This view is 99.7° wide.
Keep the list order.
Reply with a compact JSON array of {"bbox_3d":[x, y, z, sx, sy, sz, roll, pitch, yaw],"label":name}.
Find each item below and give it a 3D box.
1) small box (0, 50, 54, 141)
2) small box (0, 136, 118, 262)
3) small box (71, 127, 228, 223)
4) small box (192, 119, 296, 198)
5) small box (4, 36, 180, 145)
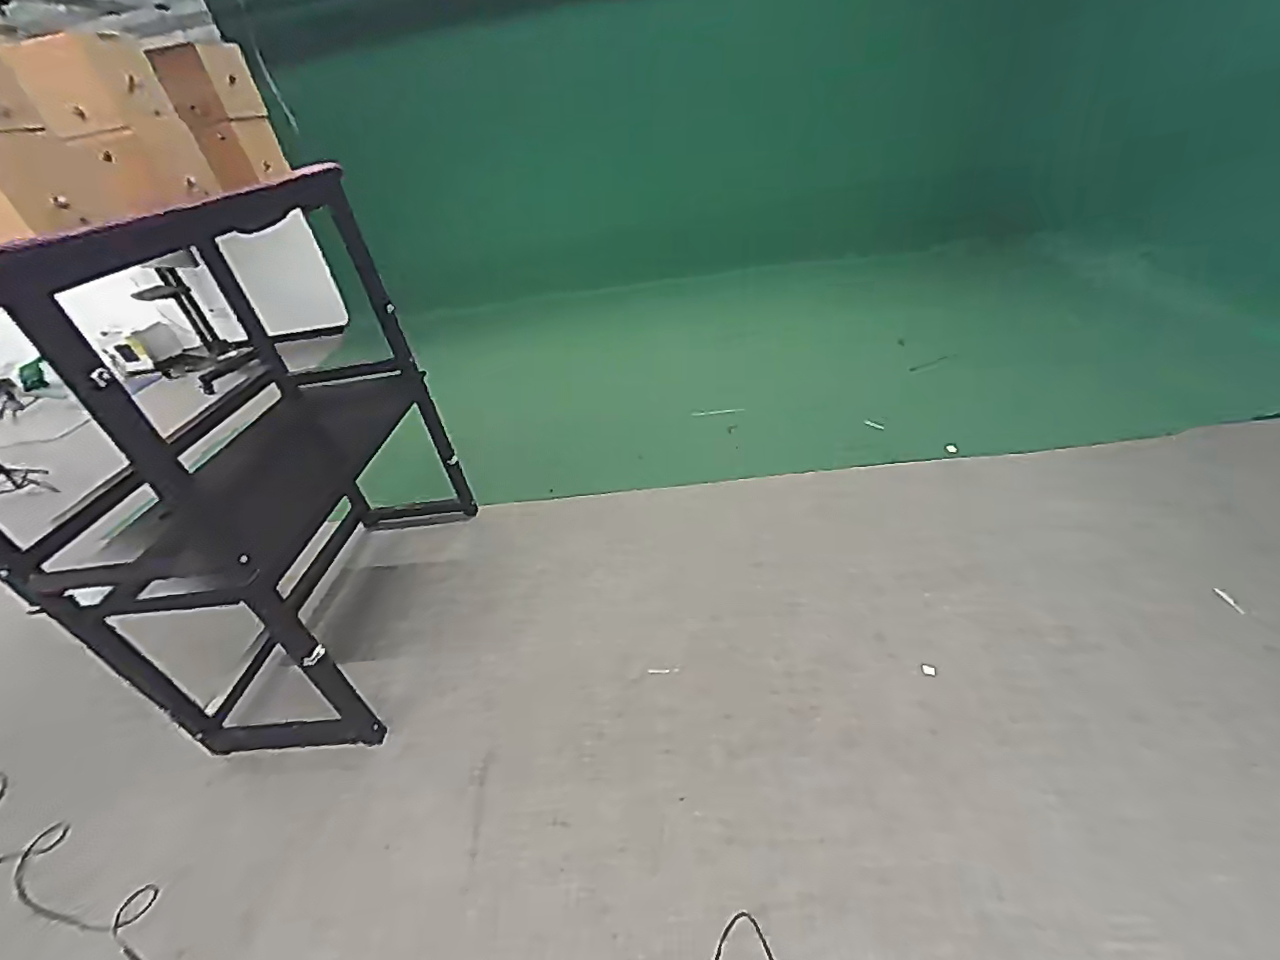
[{"bbox_3d":[-1.163,-0.635,0.887,0.179,0.176,0.168,-6,37,8],"label":"small box"},{"bbox_3d":[-1.136,-0.504,0.980,0.179,0.176,0.168,-8,36,6],"label":"small box"},{"bbox_3d":[-1.149,-0.723,1.283,0.179,0.176,0.168,-5,37,6],"label":"small box"},{"bbox_3d":[-1.149,-0.924,1.556,0.179,0.176,0.168,-4,37,7],"label":"small box"},{"bbox_3d":[-1.184,-0.853,1.189,0.179,0.176,0.168,-5,36,6],"label":"small box"}]
